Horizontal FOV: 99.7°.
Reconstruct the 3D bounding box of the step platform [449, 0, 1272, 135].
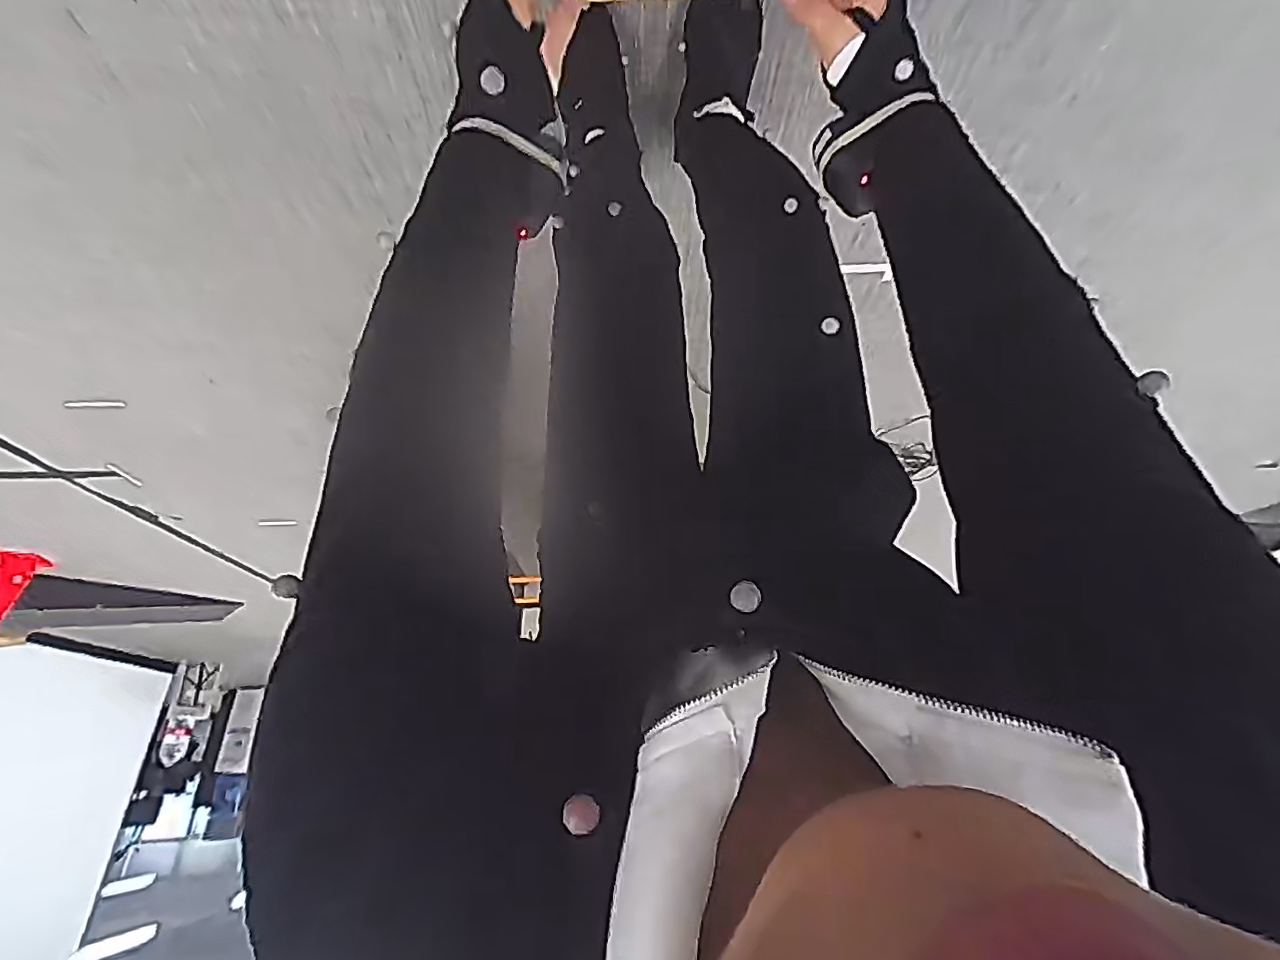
[{"bbox_3d":[0.184,-0.491,0.448,0.684,0.204,0.286,-3,152,-1],"label":"step platform"}]
